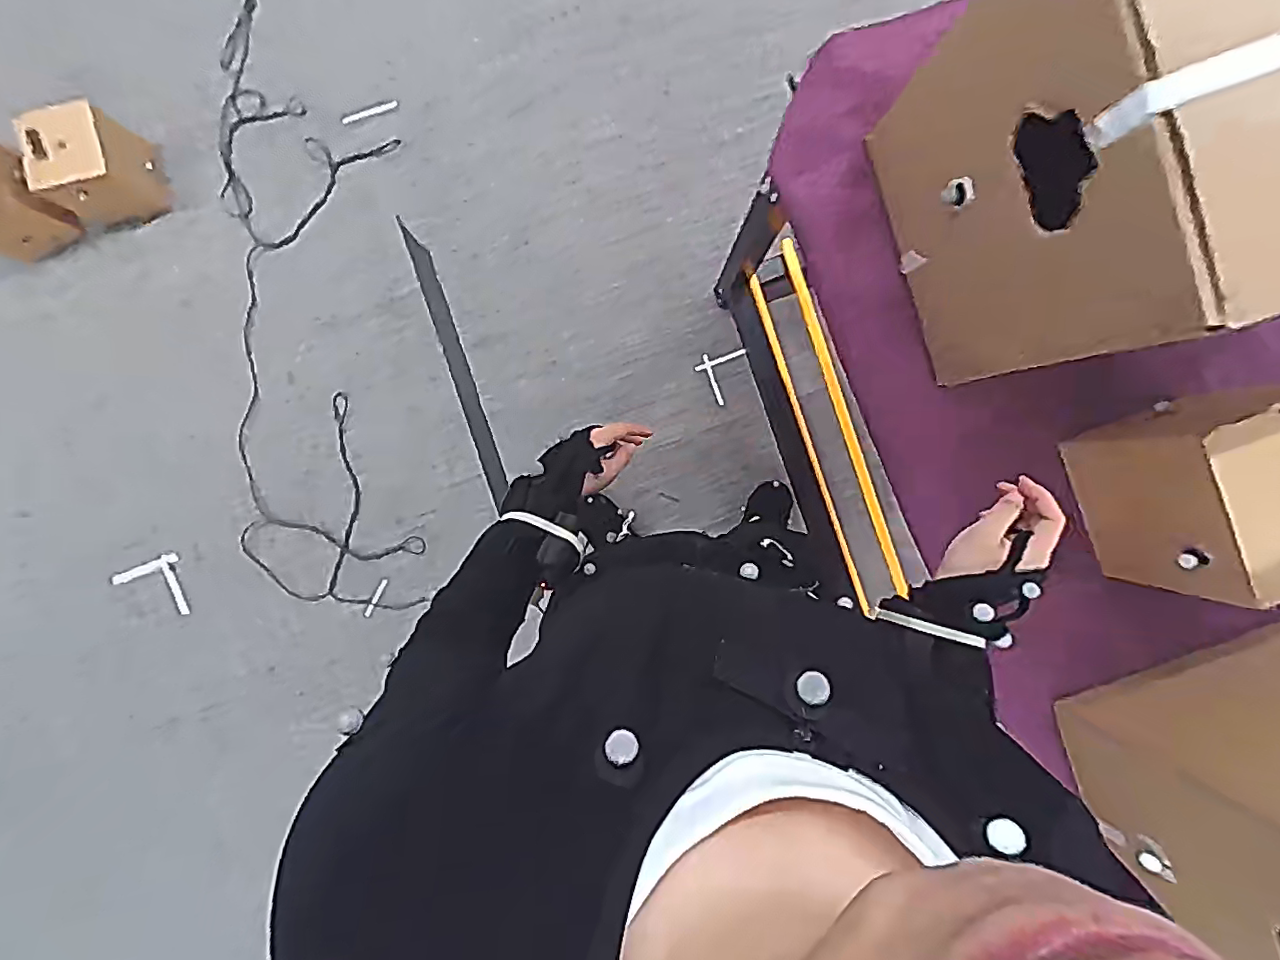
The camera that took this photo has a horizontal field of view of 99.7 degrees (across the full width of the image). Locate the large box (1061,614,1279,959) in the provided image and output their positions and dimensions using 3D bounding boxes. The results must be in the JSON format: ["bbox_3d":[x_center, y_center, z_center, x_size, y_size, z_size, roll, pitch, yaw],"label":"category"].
[{"bbox_3d":[0.741,0.343,0.512,0.408,0.320,0.320,-20,92,-2],"label":"large box"}]

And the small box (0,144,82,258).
[{"bbox_3d":[-1.485,-0.653,1.257,0.168,0.176,0.179,-26,92,0],"label":"small box"}]

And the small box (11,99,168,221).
[{"bbox_3d":[-1.264,-0.730,1.254,0.179,0.176,0.168,-14,91,-1],"label":"small box"}]
